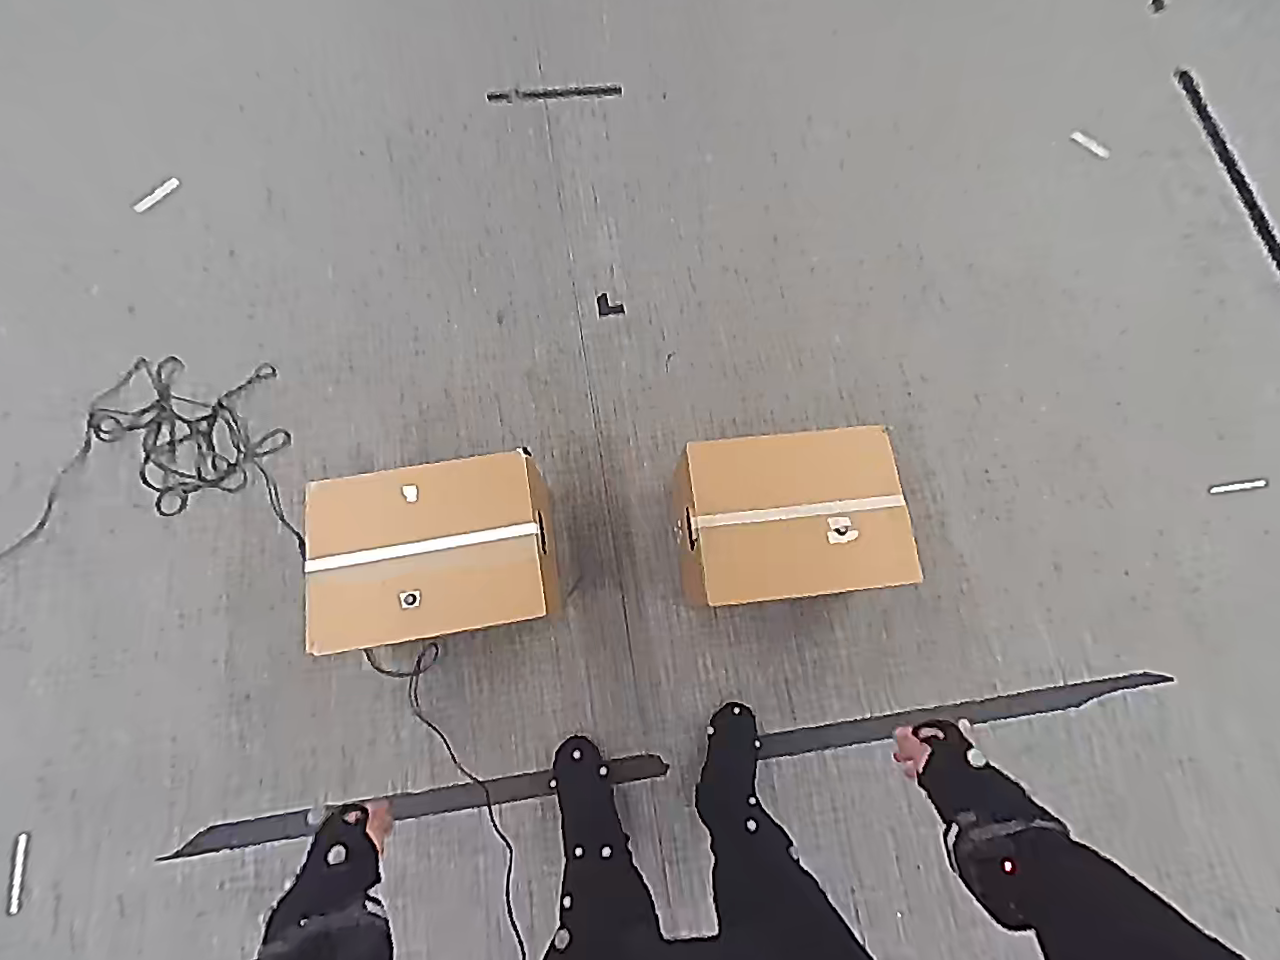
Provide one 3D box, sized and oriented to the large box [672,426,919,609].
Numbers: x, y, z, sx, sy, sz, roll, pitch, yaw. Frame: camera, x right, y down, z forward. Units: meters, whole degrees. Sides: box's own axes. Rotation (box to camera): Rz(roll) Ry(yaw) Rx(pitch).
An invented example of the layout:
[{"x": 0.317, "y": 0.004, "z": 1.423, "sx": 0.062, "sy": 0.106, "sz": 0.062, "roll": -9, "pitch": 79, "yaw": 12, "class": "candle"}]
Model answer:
[{"x": 0.299, "y": 0.096, "z": 1.171, "sx": 0.408, "sy": 0.320, "sz": 0.320, "roll": -5, "pitch": 76, "yaw": -4, "class": "large box"}]
